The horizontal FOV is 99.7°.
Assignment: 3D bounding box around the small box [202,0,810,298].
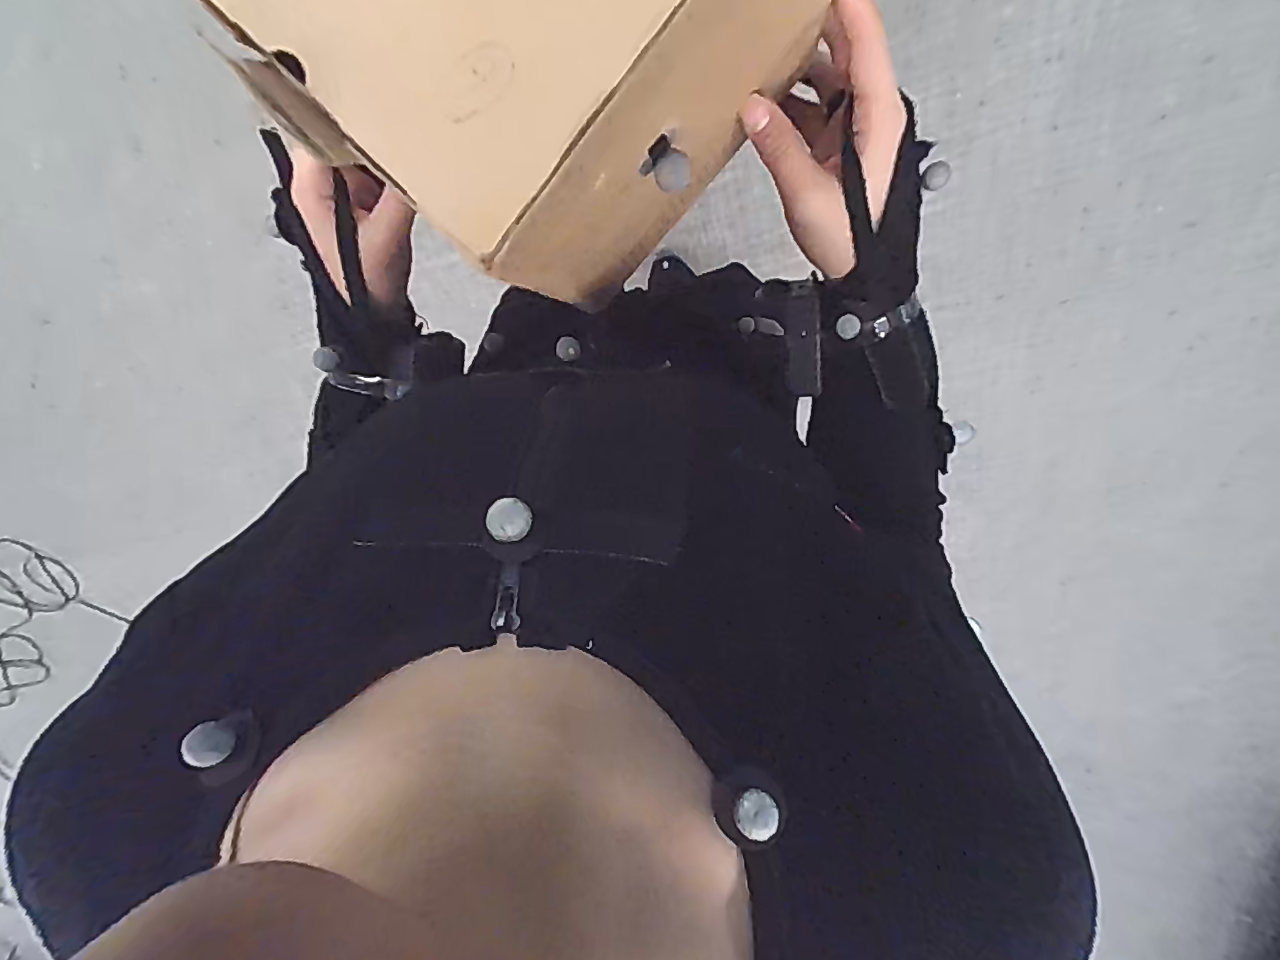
[{"bbox_3d":[-0.037,-0.202,0.236,0.168,0.176,0.179,43,105,-3],"label":"small box"}]
